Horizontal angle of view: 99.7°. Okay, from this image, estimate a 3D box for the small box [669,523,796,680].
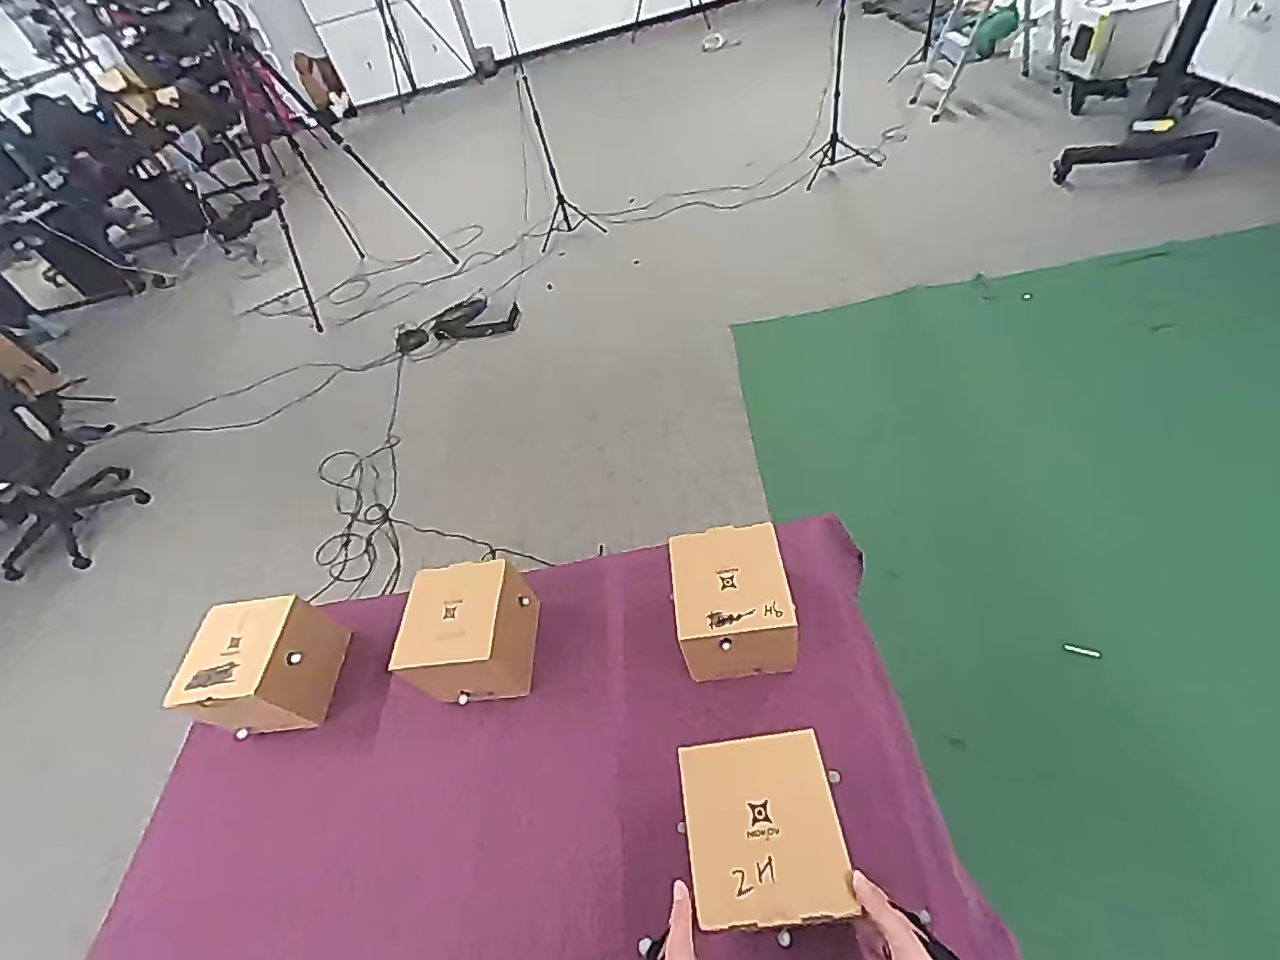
[{"bbox_3d":[0.141,0.193,0.850,0.168,0.176,0.179,-9,50,7],"label":"small box"}]

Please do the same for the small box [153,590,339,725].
[{"bbox_3d":[-0.659,0.314,0.935,0.168,0.176,0.179,-8,51,6],"label":"small box"}]

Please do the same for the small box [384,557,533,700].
[{"bbox_3d":[-0.288,0.251,0.906,0.168,0.176,0.179,-7,51,8],"label":"small box"}]

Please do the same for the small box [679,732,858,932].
[{"bbox_3d":[0.146,0.428,0.654,0.168,0.176,0.179,-11,50,6],"label":"small box"}]
